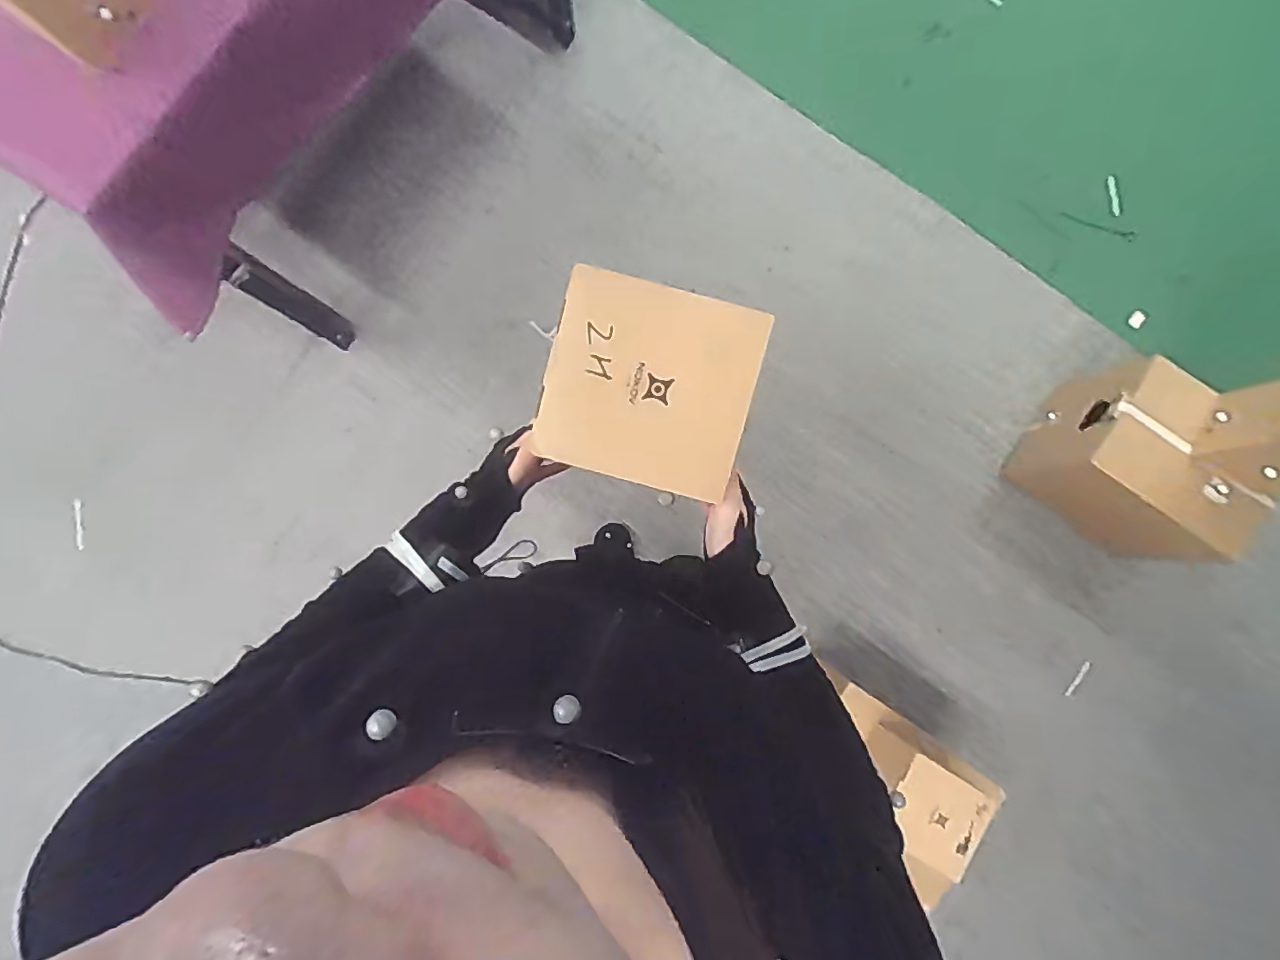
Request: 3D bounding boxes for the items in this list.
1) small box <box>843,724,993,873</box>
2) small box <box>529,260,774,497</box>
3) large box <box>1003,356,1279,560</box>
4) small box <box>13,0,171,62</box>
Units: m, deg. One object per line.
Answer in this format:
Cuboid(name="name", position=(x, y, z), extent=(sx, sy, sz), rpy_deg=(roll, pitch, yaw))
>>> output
Cuboid(name="small box", position=(0.541, 0.618, 1.081), extent=(0.179, 0.176, 0.168), rpy_deg=(33, 85, 3))
Cuboid(name="small box", position=(0.011, -0.093, 0.537), extent=(0.179, 0.176, 0.168), rpy_deg=(15, 96, 1))
Cuboid(name="large box", position=(1.259, -0.042, 1.374), extent=(0.408, 0.320, 0.320), rpy_deg=(36, 86, 1))
Cuboid(name="small box", position=(-0.844, -0.755, 0.767), extent=(0.179, 0.176, 0.168), rpy_deg=(36, 87, 2))
